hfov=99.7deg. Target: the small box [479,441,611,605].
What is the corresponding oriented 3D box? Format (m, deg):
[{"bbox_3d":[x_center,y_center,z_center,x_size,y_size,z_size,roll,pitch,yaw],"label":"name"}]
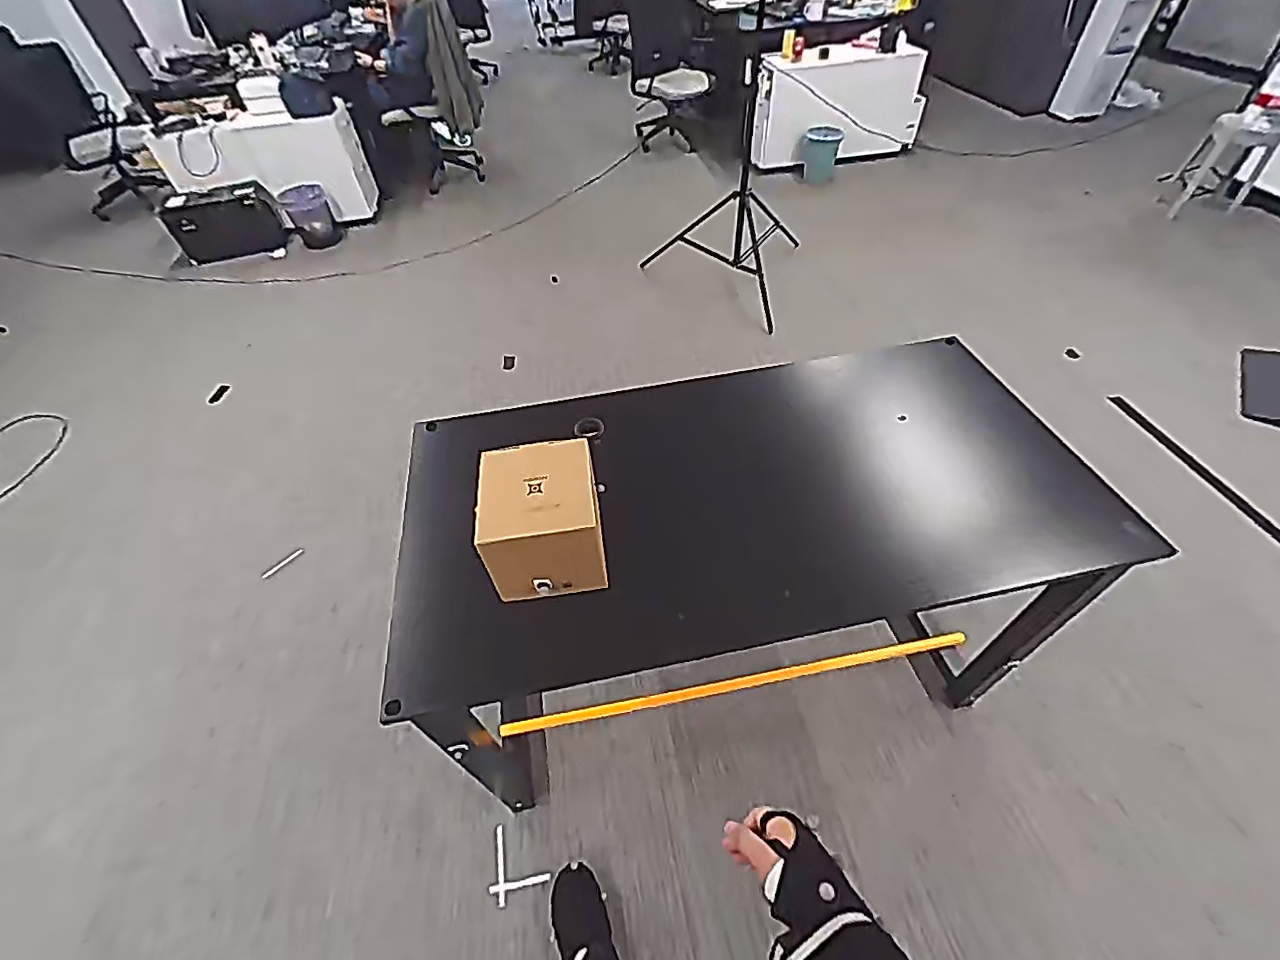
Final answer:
[{"bbox_3d":[-0.140,0.068,0.835,0.168,0.176,0.179,-9,50,-3],"label":"small box"}]
